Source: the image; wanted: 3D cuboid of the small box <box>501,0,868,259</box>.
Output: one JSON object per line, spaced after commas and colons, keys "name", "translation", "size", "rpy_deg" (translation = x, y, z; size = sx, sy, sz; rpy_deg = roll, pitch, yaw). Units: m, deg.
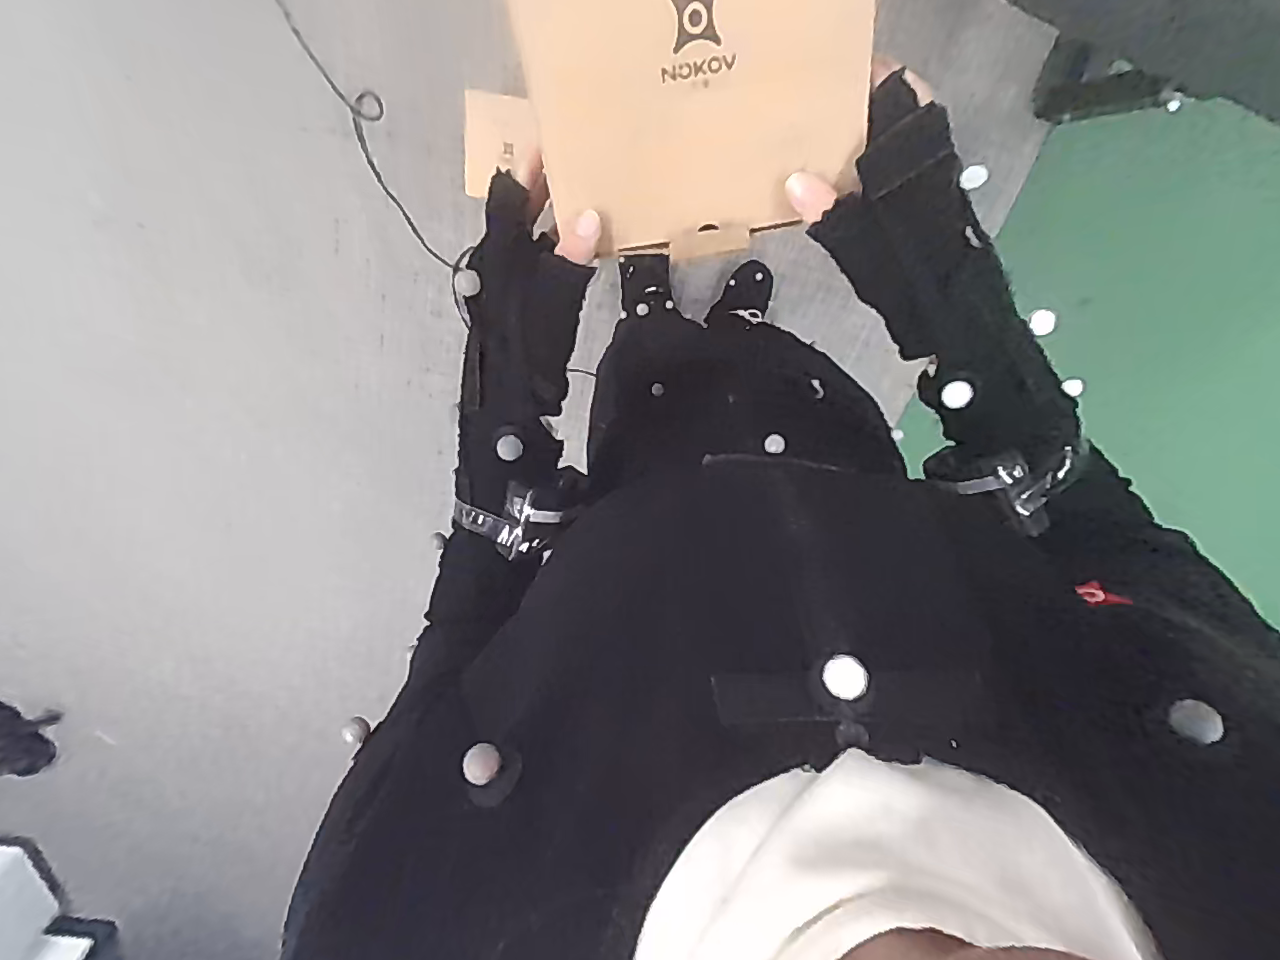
{"name": "small box", "translation": [0.024, -0.253, 0.316], "size": [0.168, 0.176, 0.179], "rpy_deg": [-9, 124, 7]}
